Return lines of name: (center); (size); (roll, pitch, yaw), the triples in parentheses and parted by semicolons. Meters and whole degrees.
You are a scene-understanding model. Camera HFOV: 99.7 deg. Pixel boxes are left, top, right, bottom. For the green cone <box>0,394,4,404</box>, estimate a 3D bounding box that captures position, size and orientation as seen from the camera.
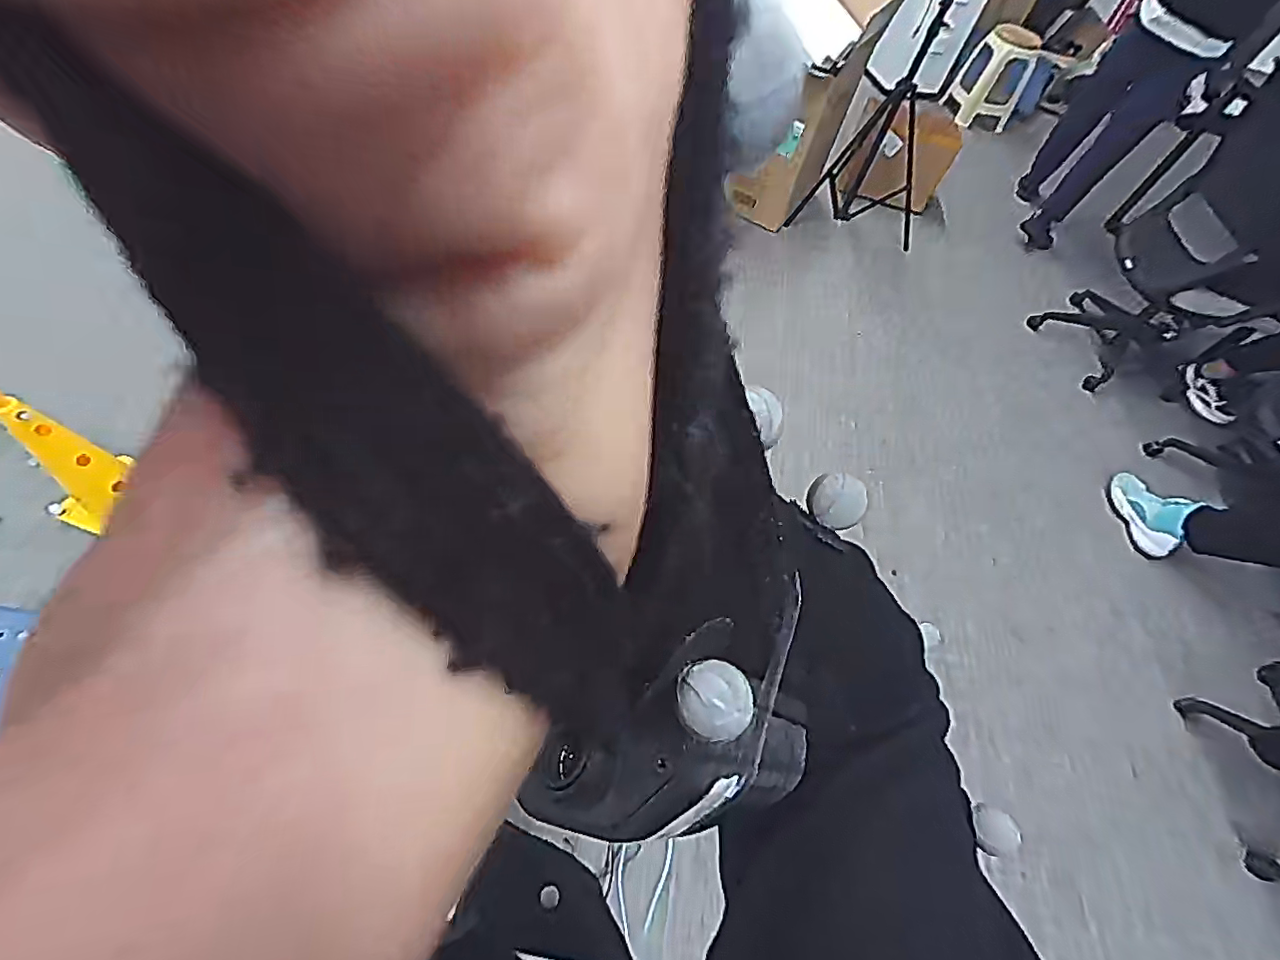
green cone: (-1.742, -0.246, 1.225); (0.202, 0.368, 0.200); (3, 56, -11)
